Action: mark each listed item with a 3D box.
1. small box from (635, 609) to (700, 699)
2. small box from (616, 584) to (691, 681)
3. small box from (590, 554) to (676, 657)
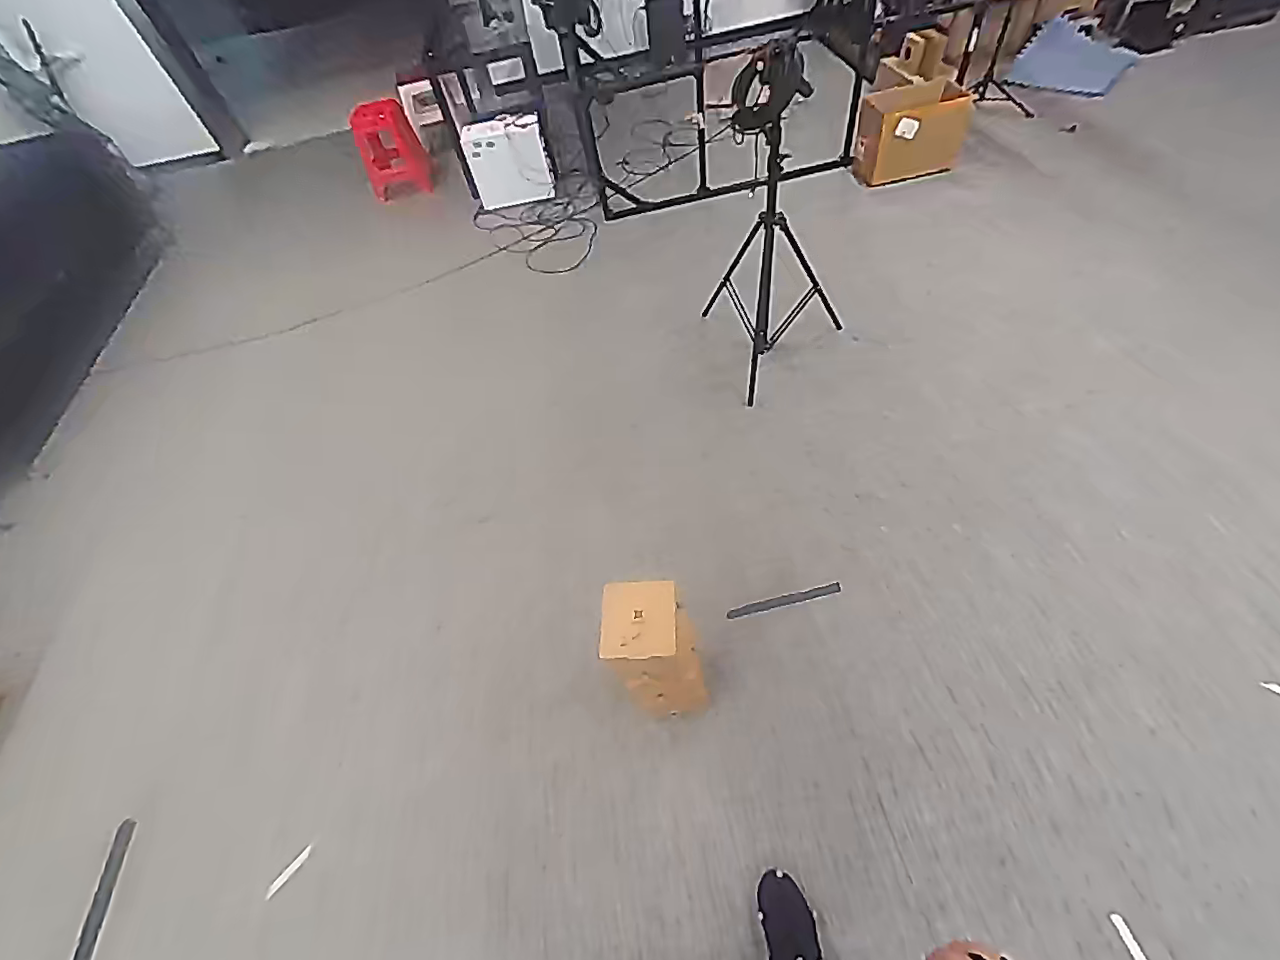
[{"bbox_3d":[0.065,0.475,1.467,0.168,0.176,0.179,-11,54,3],"label":"small box"},{"bbox_3d":[0.032,0.381,1.339,0.168,0.176,0.179,-9,55,4],"label":"small box"},{"bbox_3d":[-0.010,0.283,1.212,0.168,0.176,0.179,-4,55,8],"label":"small box"}]
